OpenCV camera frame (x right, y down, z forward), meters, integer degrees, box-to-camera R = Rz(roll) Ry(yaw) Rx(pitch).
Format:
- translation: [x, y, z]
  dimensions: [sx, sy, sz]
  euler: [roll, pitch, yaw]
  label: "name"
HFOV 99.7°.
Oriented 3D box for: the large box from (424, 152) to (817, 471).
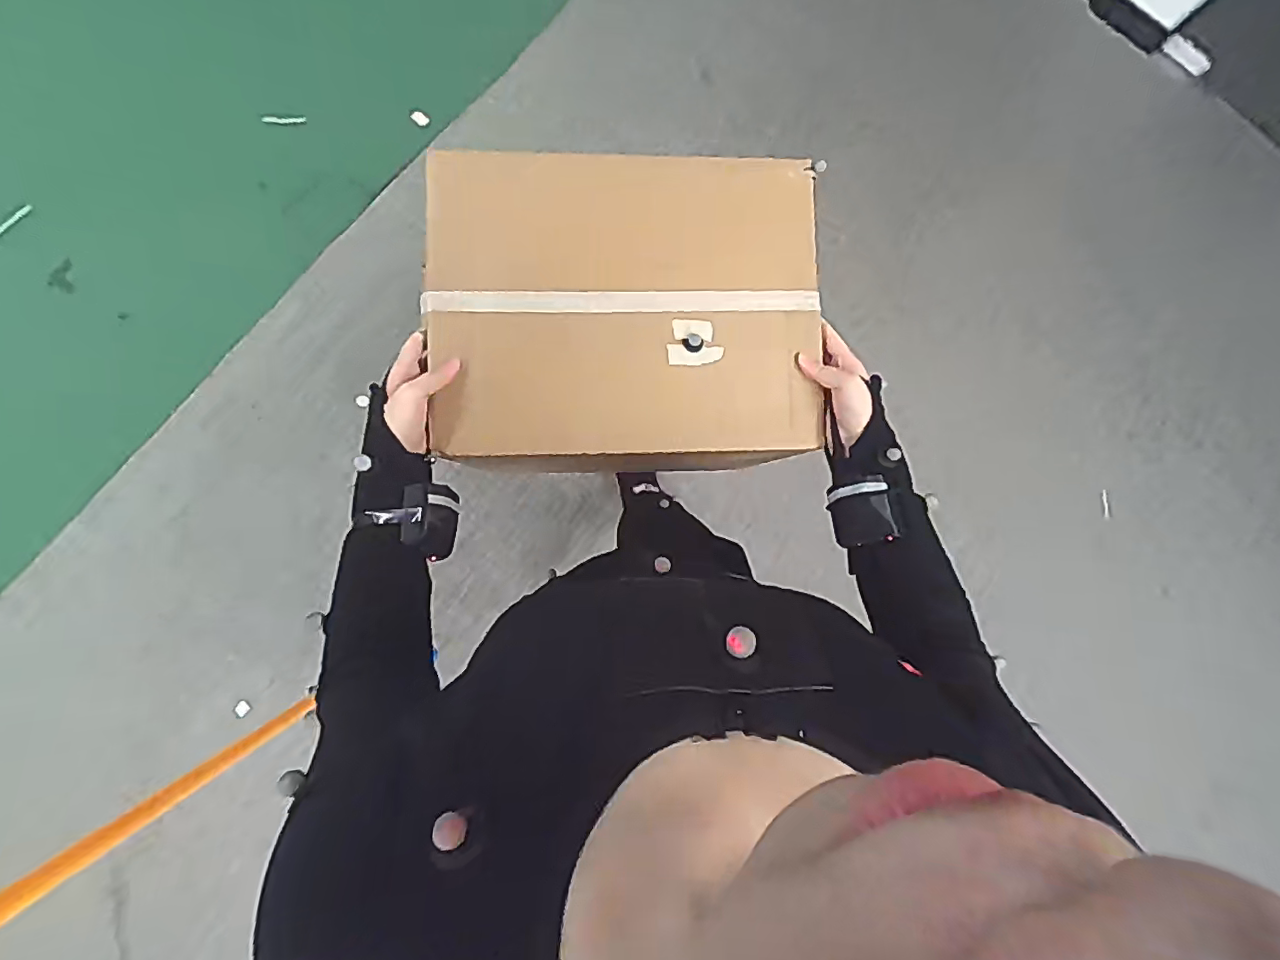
- translation: [-0.031, -0.185, 0.711]
  dimensions: [0.408, 0.320, 0.320]
  euler: [-2, 88, -6]
  label: "large box"
